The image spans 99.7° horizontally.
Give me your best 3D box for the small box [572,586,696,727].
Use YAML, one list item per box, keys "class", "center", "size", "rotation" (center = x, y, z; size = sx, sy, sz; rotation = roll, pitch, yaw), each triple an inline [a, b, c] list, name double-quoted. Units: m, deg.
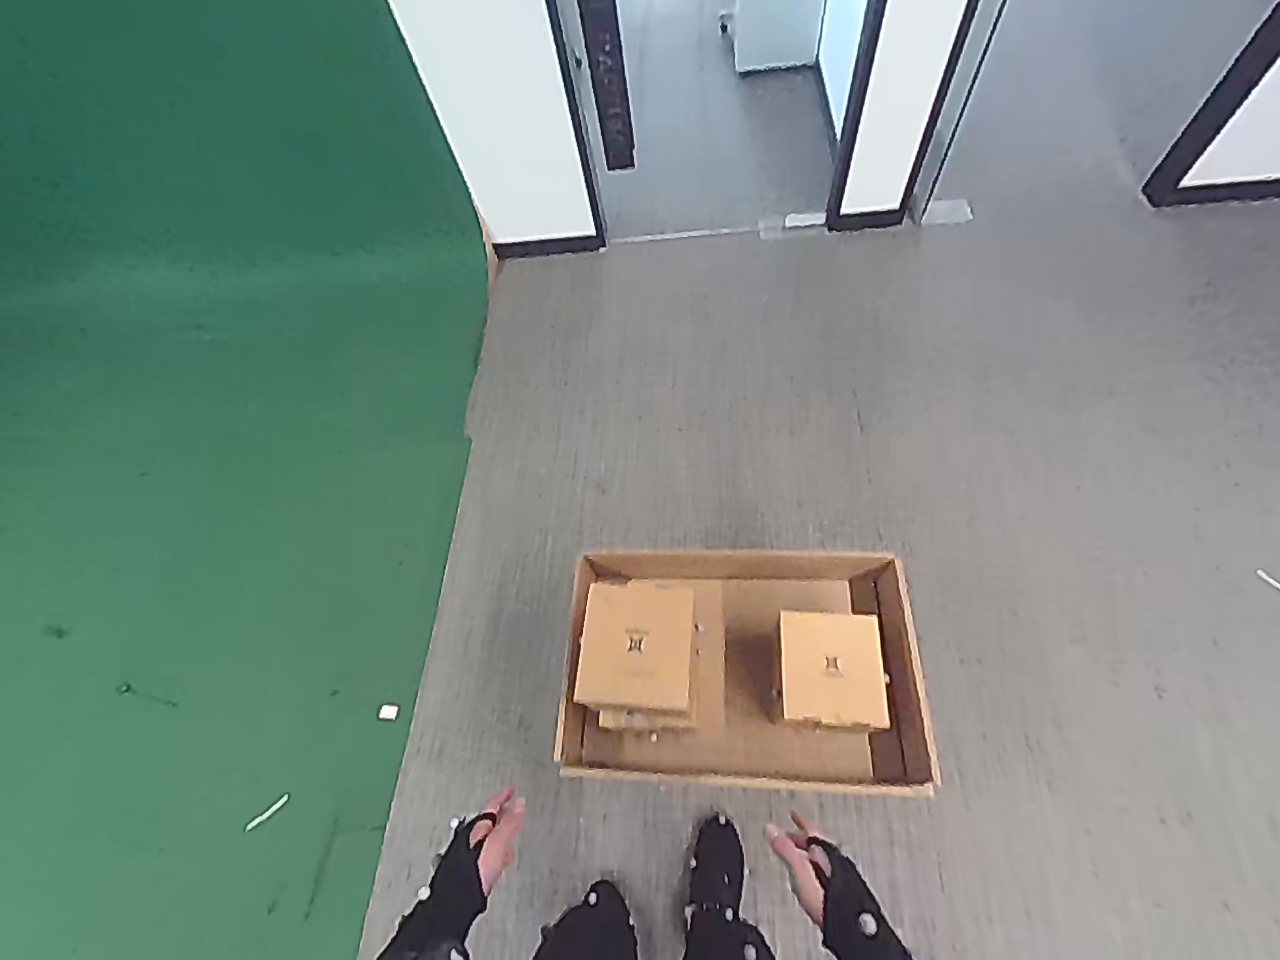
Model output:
- class: "small box"
  center: [0.001, 0.284, 0.864]
  size: [0.168, 0.176, 0.179]
  rotation: [1, 61, 10]
